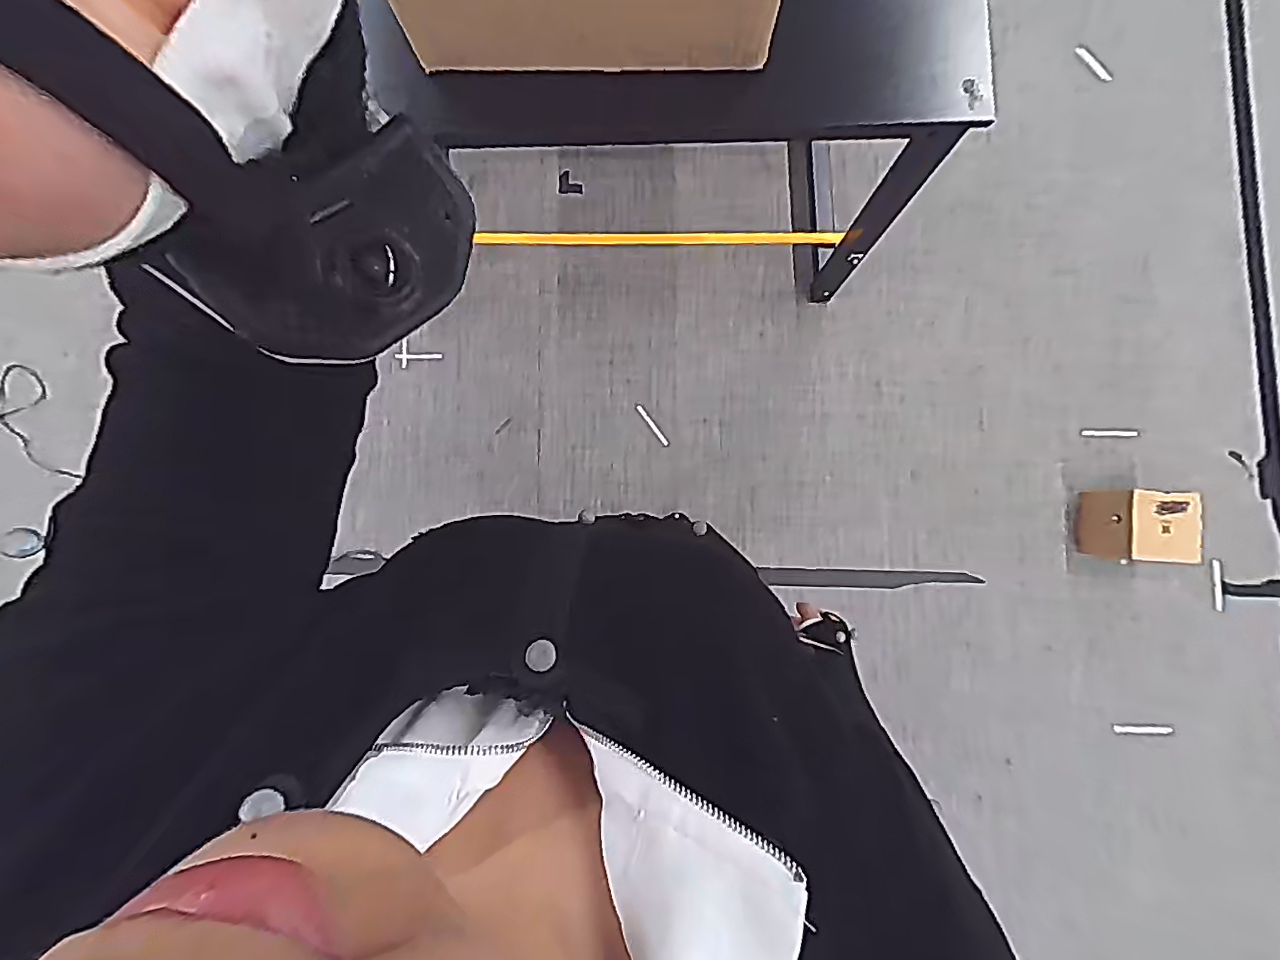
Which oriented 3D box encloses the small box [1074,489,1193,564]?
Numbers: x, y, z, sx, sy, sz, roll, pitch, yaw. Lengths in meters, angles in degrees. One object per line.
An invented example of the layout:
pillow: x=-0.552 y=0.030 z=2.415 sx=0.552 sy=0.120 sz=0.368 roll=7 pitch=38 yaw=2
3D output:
small box: x=1.279 y=0.120 z=1.411 sx=0.168 sy=0.176 sz=0.179 roll=4 pitch=87 yaw=1
